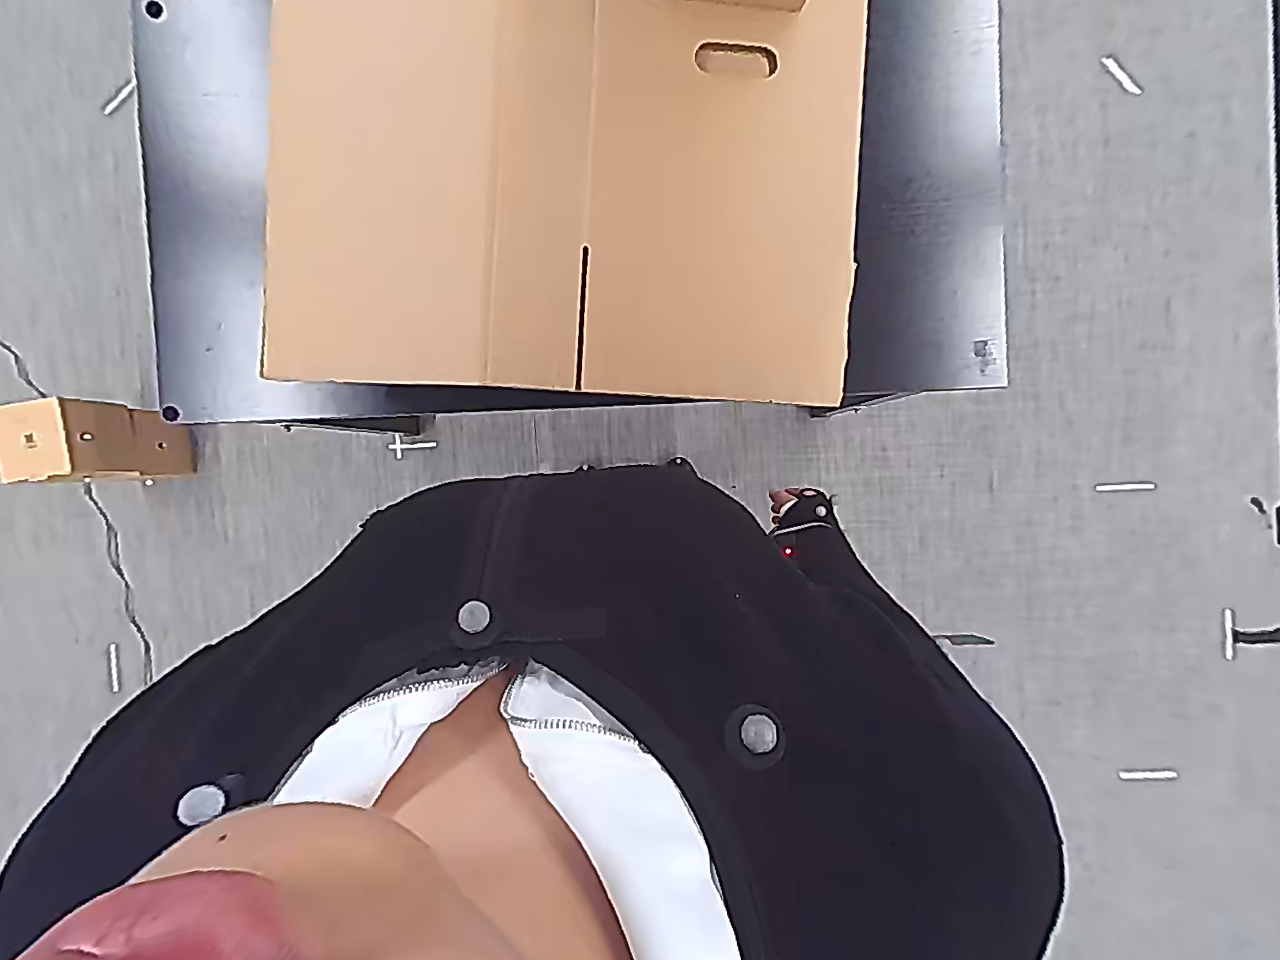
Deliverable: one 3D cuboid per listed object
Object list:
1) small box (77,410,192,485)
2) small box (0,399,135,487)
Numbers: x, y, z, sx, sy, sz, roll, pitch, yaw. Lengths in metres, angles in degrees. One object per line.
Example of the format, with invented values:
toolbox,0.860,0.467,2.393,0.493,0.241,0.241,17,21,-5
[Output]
small box,-1.350,-0.083,1.442,0.168,0.176,0.179,-6,92,1
small box,-1.356,-0.084,1.279,0.168,0.176,0.179,-10,90,1
